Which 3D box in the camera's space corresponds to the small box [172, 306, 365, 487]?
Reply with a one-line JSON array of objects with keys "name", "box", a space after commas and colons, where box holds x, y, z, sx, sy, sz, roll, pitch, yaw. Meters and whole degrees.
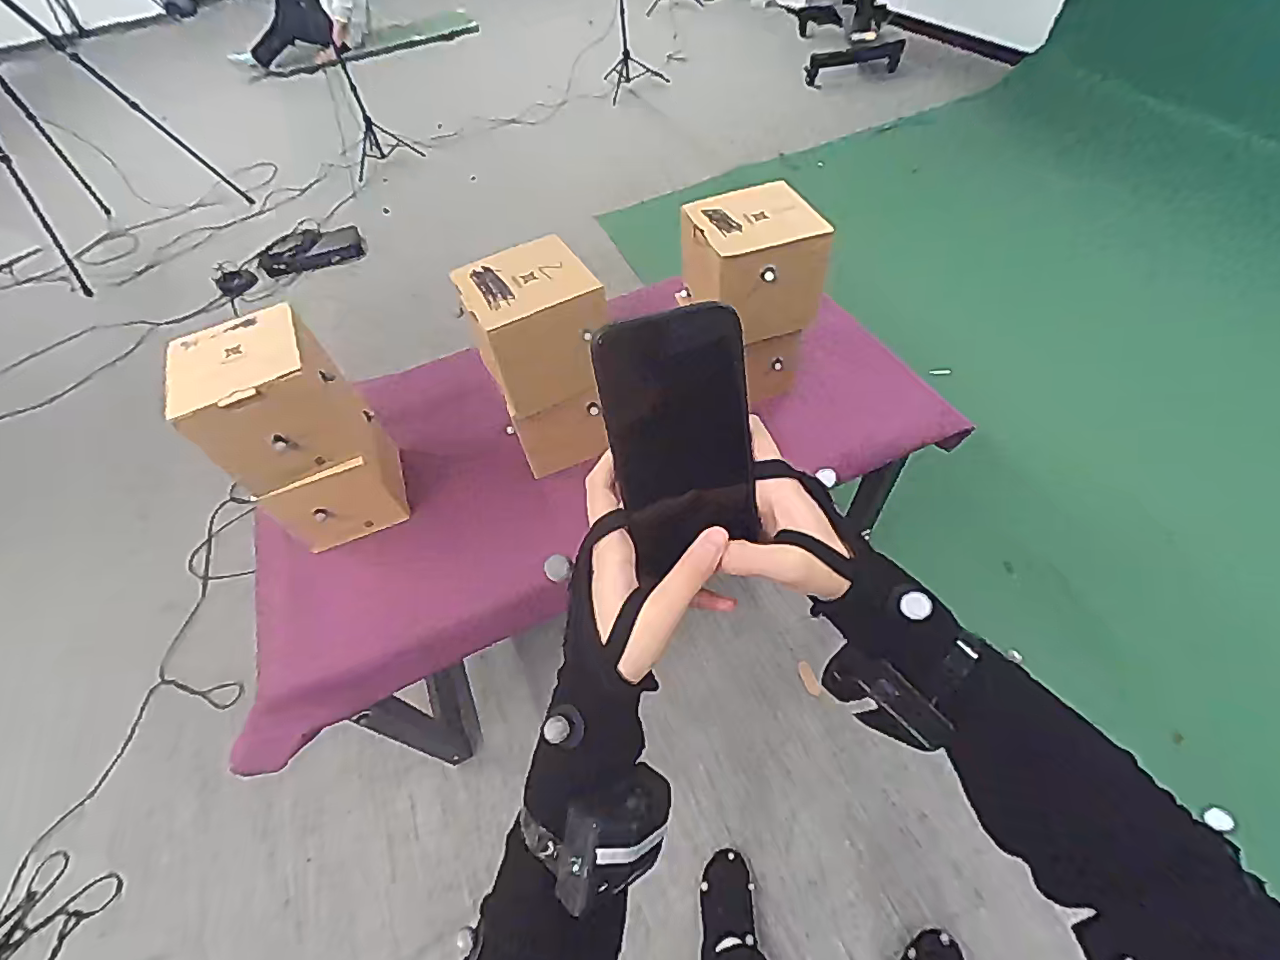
[{"name": "small box", "box": [-0.525, -0.112, 0.782, 0.168, 0.176, 0.179, -25, 56, -12]}]

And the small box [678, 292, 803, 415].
[{"name": "small box", "box": [0.178, -0.248, 1.006, 0.179, 0.176, 0.168, -16, 53, -5]}]

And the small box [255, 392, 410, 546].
[{"name": "small box", "box": [-0.507, -0.010, 0.909, 0.168, 0.176, 0.179, -21, 54, -9]}]

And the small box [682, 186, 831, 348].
[{"name": "small box", "box": [0.177, -0.336, 0.868, 0.179, 0.176, 0.168, -16, 54, -6]}]

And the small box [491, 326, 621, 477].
[{"name": "small box", "box": [-0.140, -0.136, 0.959, 0.179, 0.176, 0.168, -22, 54, -9]}]
